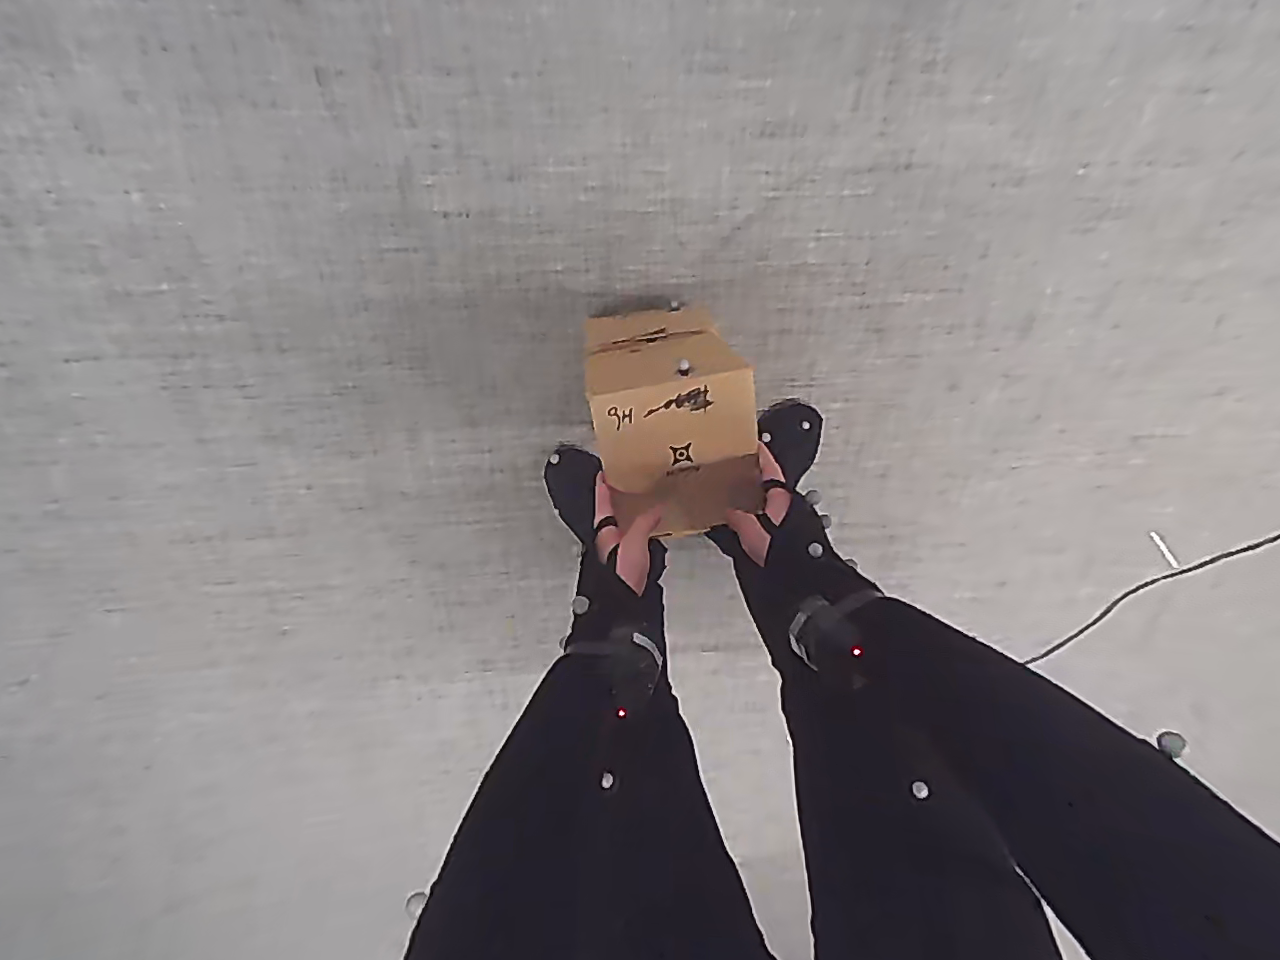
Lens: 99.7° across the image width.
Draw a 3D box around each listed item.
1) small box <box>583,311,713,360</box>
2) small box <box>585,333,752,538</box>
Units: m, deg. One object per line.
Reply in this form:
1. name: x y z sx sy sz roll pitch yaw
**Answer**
1. small box: 0.010 -0.139 0.781 0.168 0.176 0.179 -8 119 -2
2. small box: 0.030 -0.059 0.639 0.168 0.176 0.179 -10 118 -2
